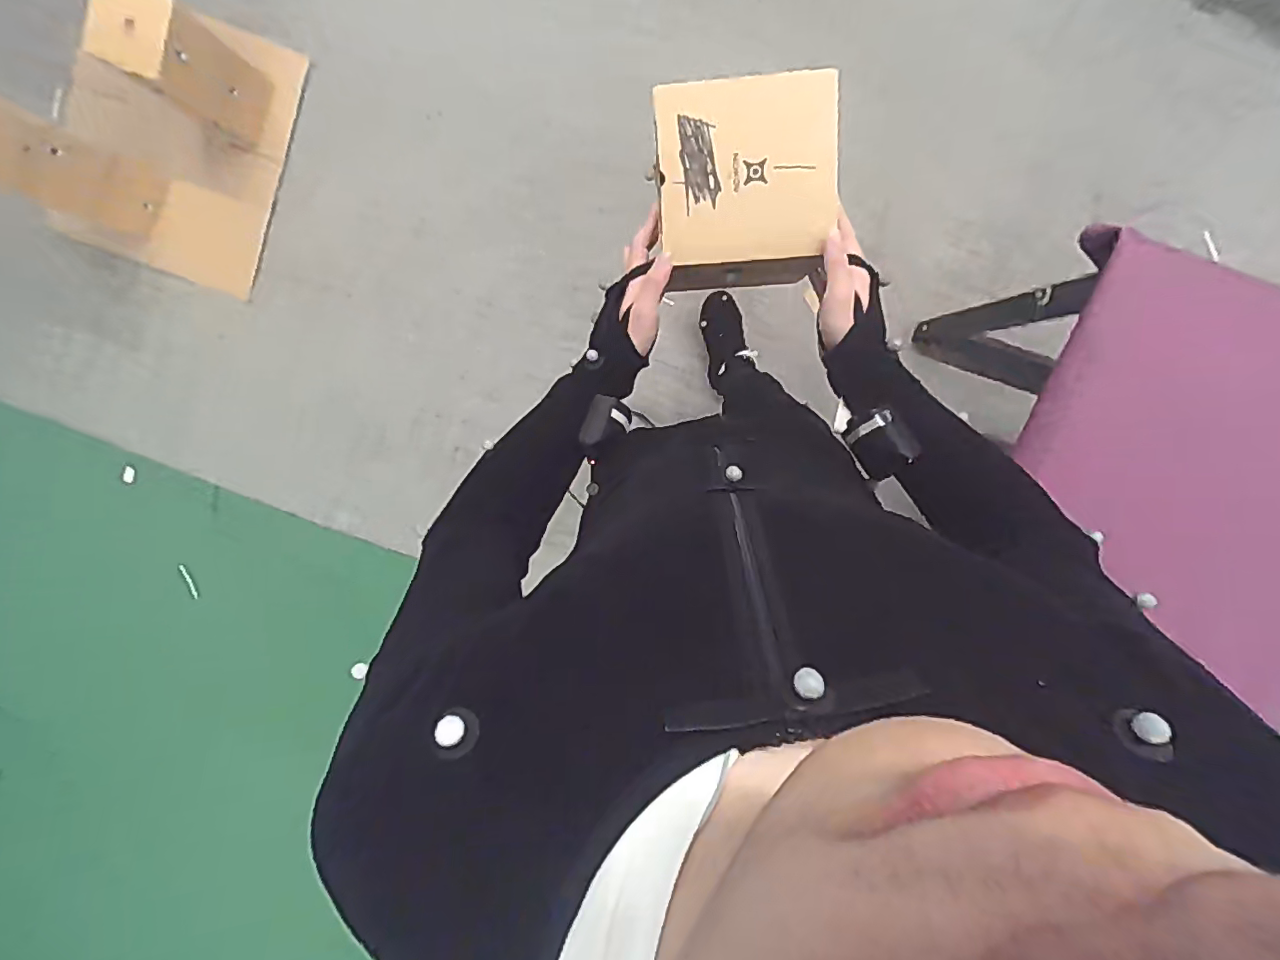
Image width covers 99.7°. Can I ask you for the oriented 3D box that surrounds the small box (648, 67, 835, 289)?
[{"bbox_3d":[0.103,-0.315,0.601,0.179,0.176,0.168,-4,100,3],"label":"small box"}]

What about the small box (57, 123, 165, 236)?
[{"bbox_3d":[-1.433,-0.790,1.441,0.168,0.176,0.179,30,98,-3],"label":"small box"}]

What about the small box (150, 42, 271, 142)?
[{"bbox_3d":[-1.104,-1.023,1.403,0.168,0.176,0.179,22,99,-3],"label":"small box"}]

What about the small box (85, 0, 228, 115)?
[{"bbox_3d":[-1.099,-0.996,1.244,0.168,0.176,0.179,21,100,-3],"label":"small box"}]
